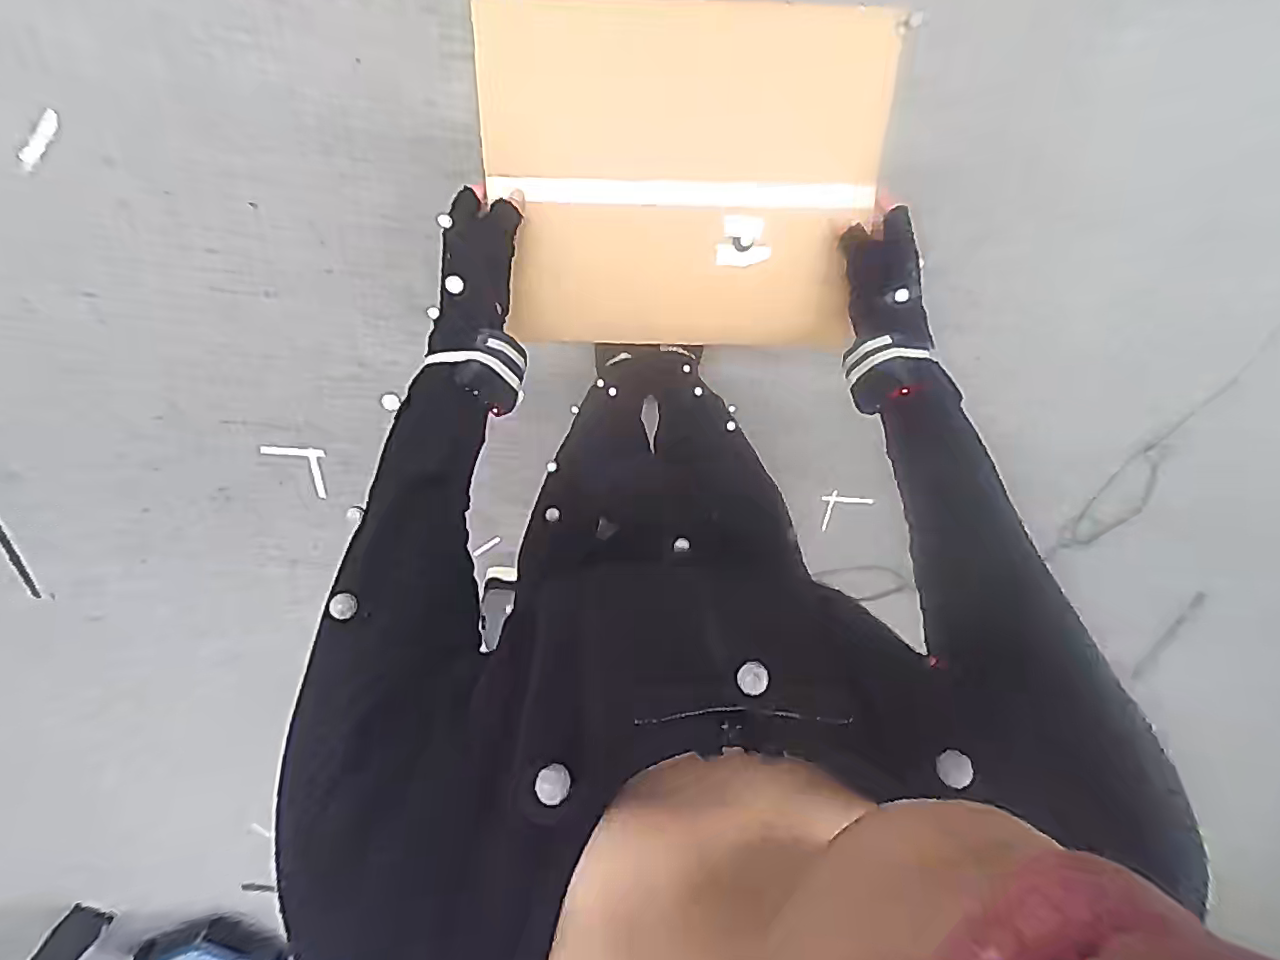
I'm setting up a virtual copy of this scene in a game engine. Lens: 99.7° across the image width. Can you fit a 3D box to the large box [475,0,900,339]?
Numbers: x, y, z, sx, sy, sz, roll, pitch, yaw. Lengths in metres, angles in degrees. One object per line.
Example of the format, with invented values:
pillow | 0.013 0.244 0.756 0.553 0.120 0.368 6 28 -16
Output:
large box | 0.039 -0.369 0.695 0.408 0.320 0.320 0 117 -2
